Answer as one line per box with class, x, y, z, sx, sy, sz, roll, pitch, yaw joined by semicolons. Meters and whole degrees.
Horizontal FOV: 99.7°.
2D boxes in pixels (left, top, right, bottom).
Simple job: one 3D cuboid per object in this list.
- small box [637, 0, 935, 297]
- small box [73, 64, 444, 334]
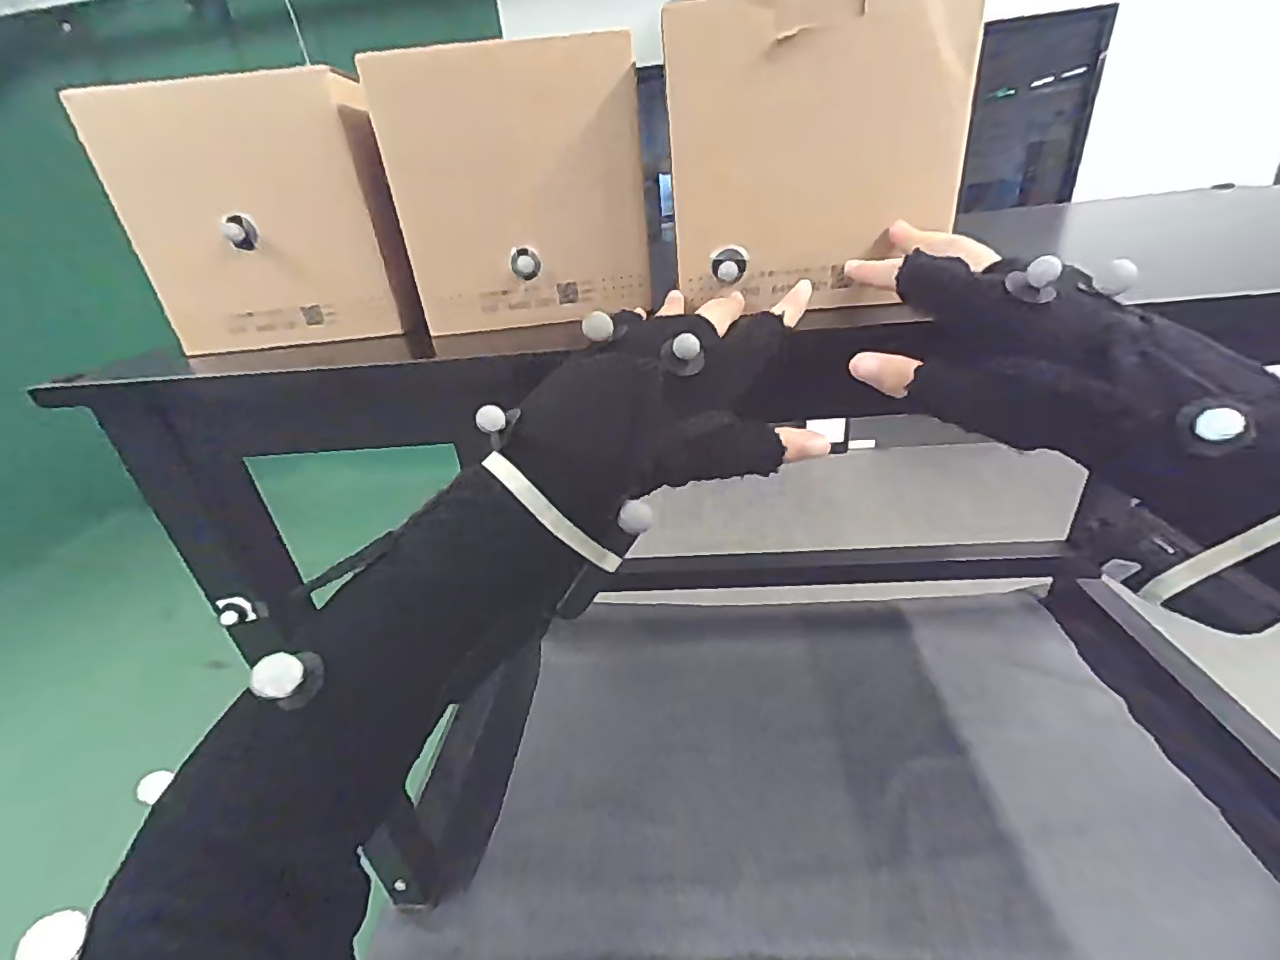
small box;0.097;-0.235;0.398;0.168;0.176;0.179;-2;27;9
small box;-0.282;-0.223;0.458;0.168;0.176;0.179;-5;27;-1
